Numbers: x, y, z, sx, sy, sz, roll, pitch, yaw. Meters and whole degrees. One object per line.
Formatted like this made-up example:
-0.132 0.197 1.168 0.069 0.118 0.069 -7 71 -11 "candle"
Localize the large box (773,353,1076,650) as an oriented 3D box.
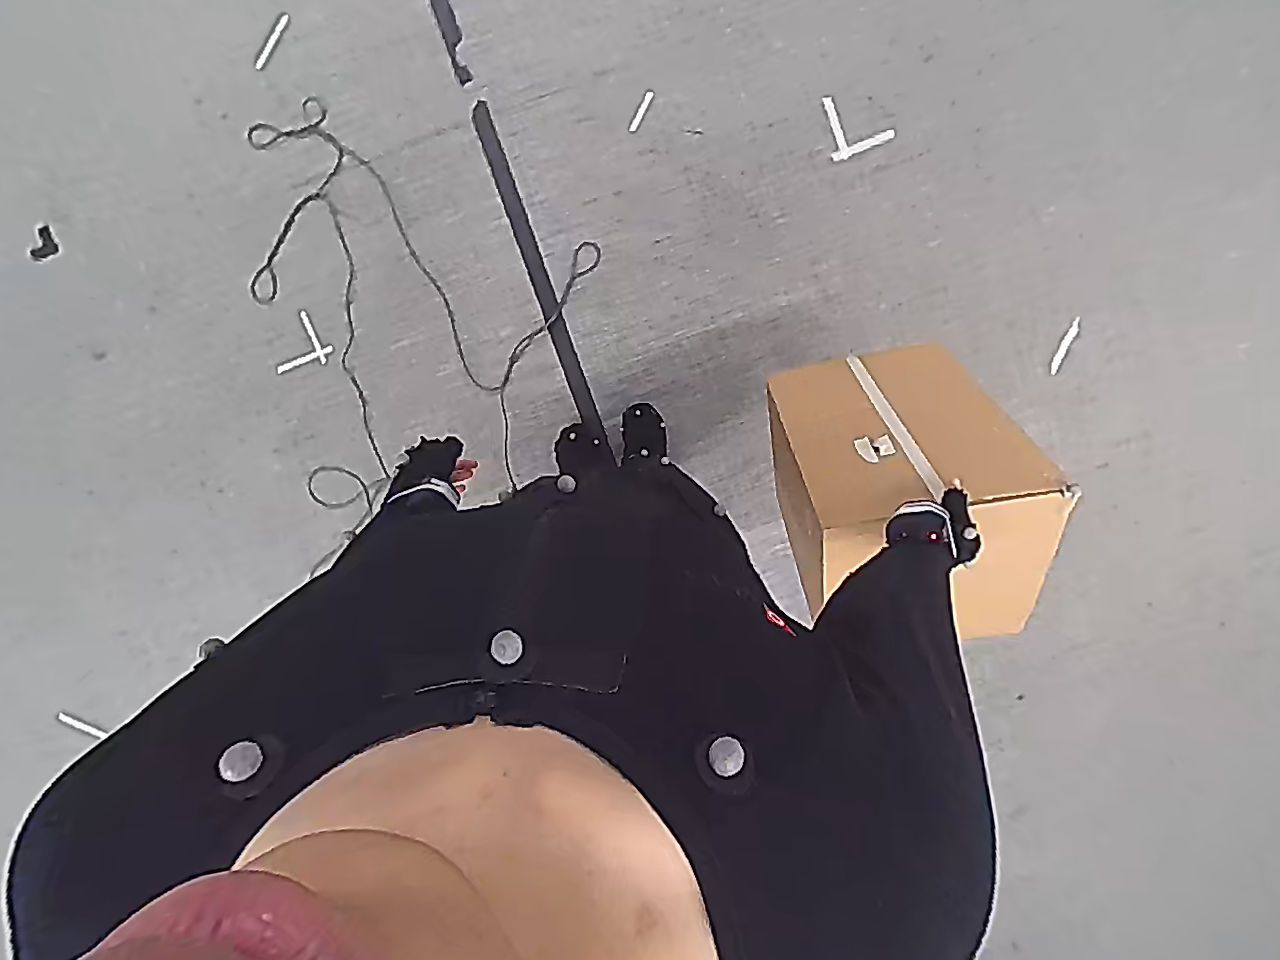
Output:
0.432 0.029 0.950 0.320 0.408 0.320 -9 131 7 "large box"
